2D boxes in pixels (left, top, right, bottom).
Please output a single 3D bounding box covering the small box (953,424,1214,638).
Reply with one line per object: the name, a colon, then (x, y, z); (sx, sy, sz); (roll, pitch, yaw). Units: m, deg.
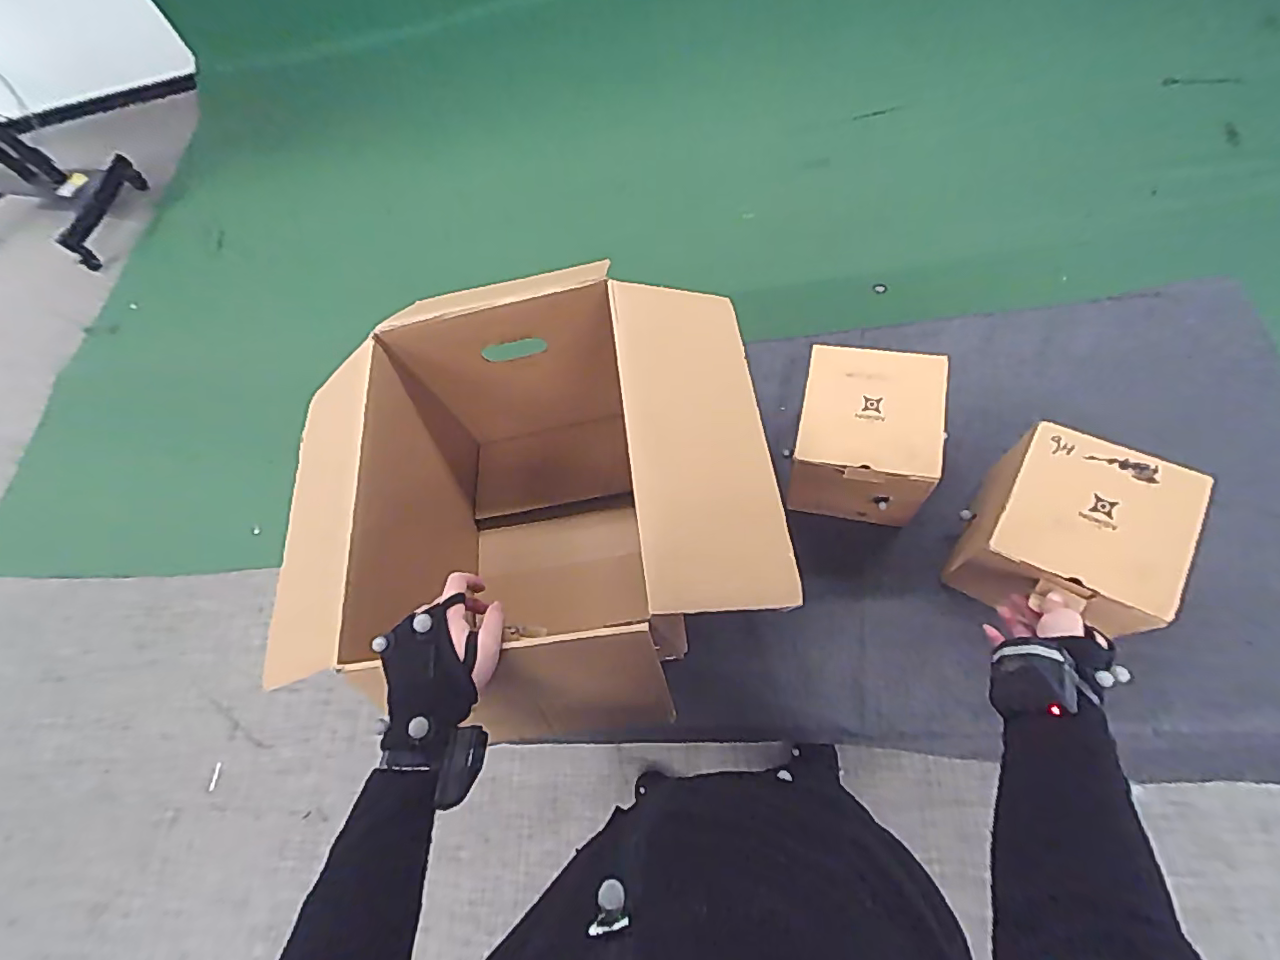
small box: (0.505, 0.070, 0.647); (0.168, 0.176, 0.179); (27, 76, 21)
